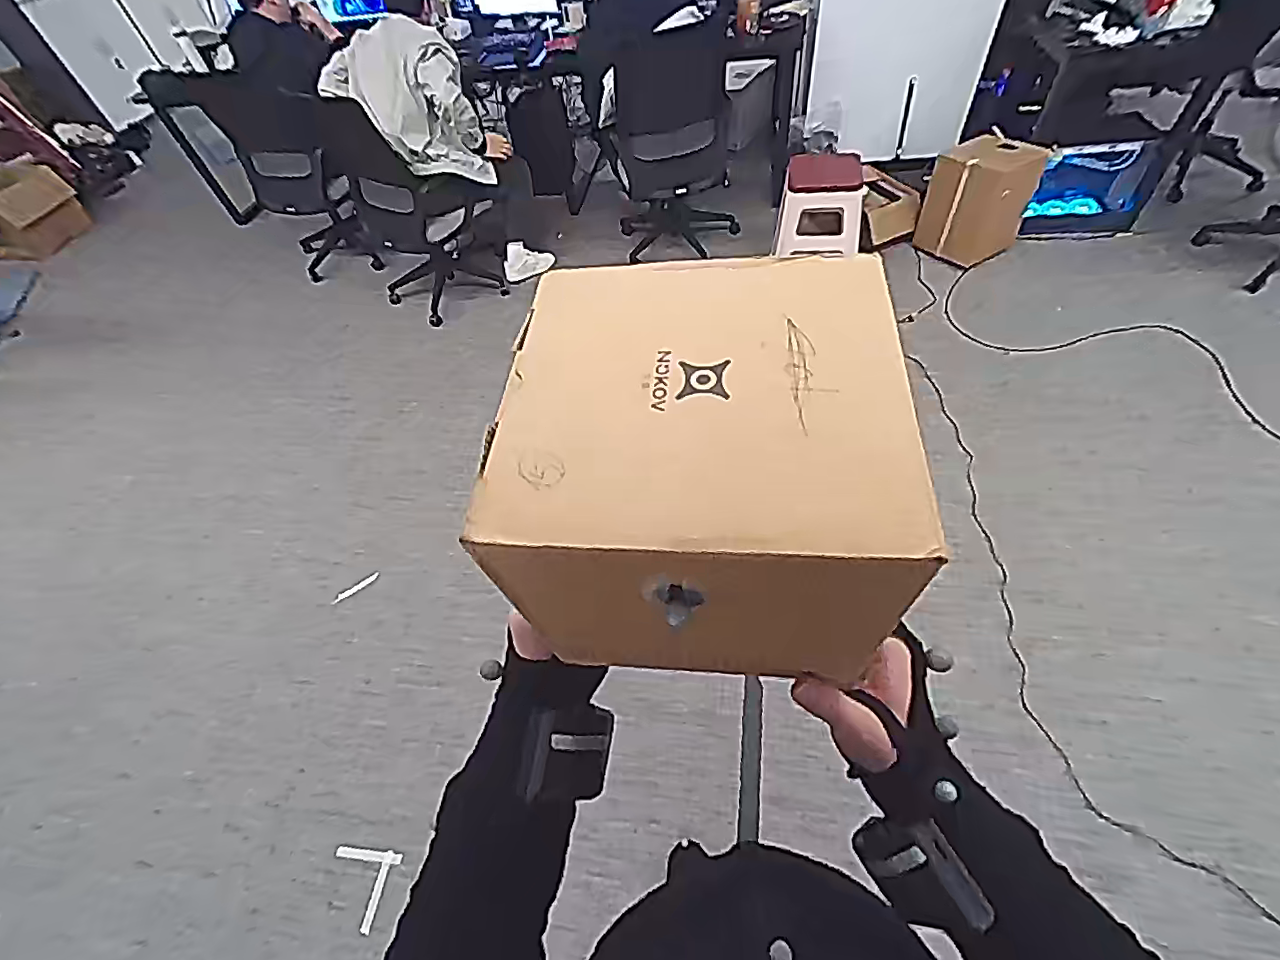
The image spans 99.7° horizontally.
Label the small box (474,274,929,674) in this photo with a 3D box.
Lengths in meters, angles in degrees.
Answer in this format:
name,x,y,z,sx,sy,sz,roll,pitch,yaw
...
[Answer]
name,x,y,z,sx,sy,sz,roll,pitch,yaw
small box,0.035,0.006,0.312,0.179,0.176,0.168,1,58,8
